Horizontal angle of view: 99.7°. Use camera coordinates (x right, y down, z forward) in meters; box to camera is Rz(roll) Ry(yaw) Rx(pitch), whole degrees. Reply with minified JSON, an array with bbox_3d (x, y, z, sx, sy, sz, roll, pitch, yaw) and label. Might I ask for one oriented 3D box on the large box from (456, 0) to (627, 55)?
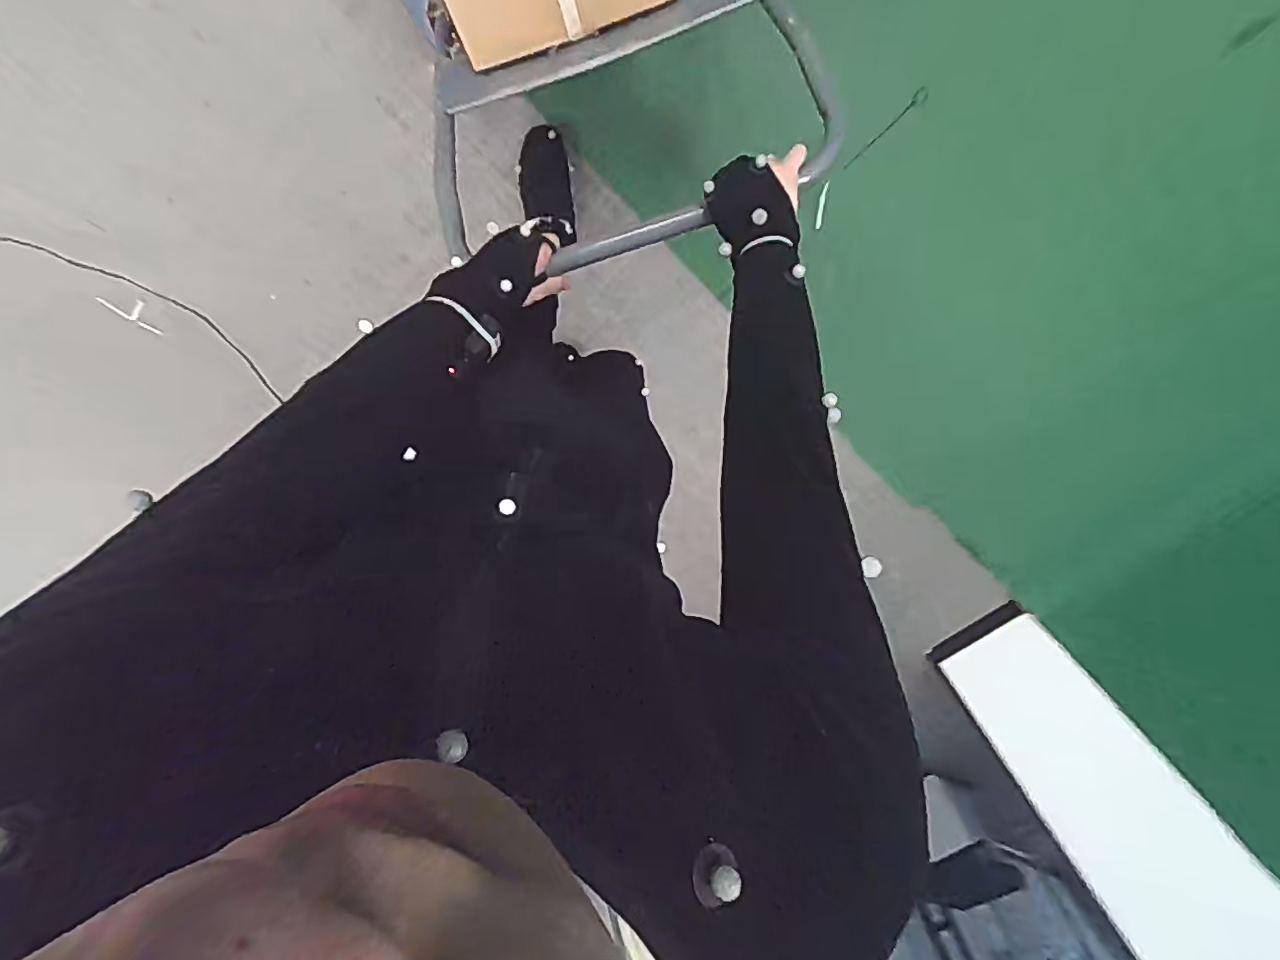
[{"bbox_3d":[-0.160,-0.887,0.702,0.320,0.320,0.408,-16,146,7],"label":"large box"}]
